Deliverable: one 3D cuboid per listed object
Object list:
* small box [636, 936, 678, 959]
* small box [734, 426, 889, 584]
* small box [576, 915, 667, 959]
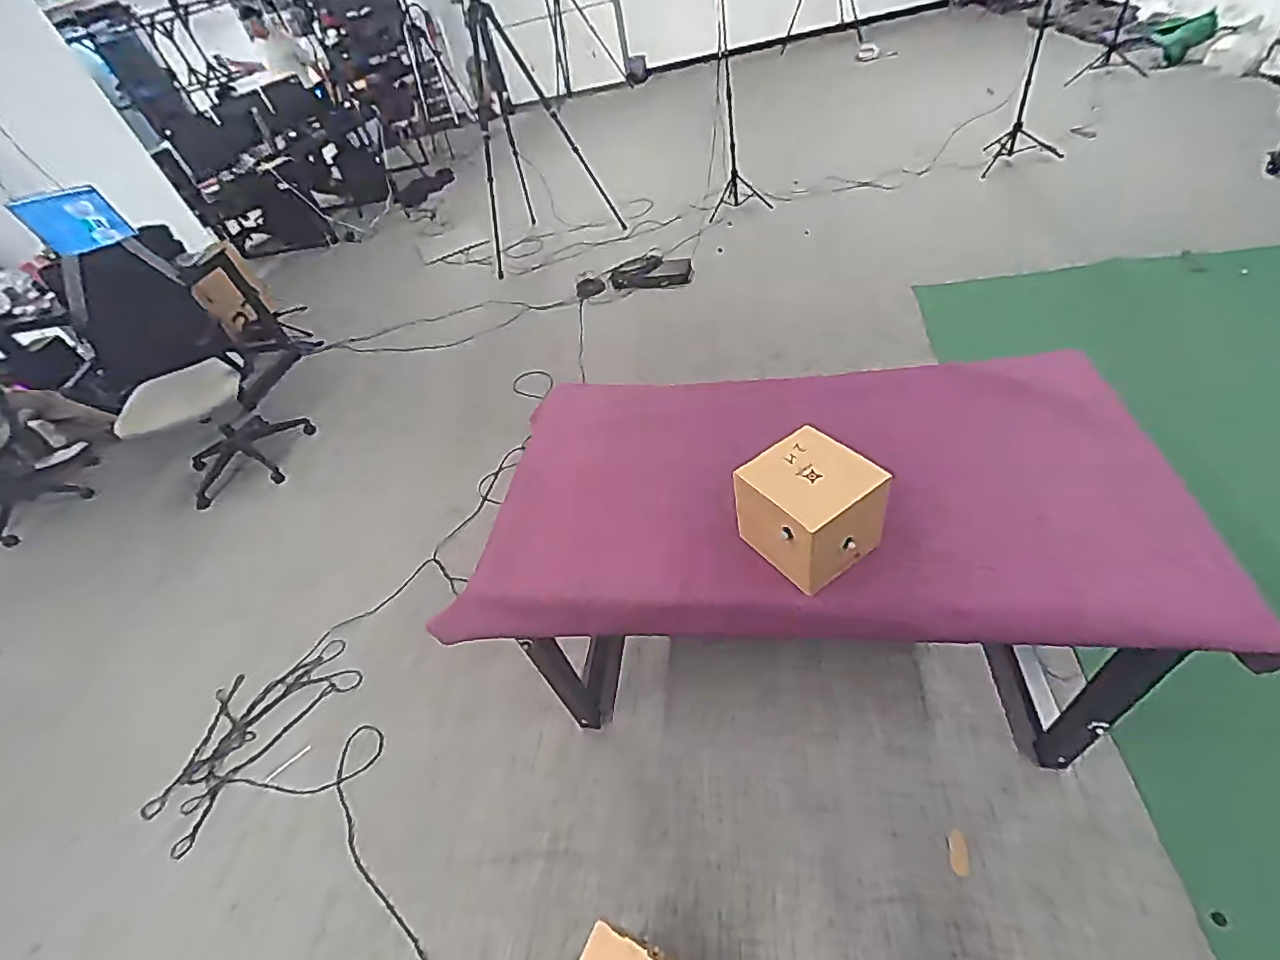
[{"bbox_3d":[0.008,1.023,1.053,0.168,0.176,0.179,9,50,24],"label":"small box"},{"bbox_3d":[0.278,0.048,0.896,0.168,0.176,0.179,-31,45,-16],"label":"small box"},{"bbox_3d":[-0.032,0.914,0.941,0.168,0.176,0.179,14,51,28],"label":"small box"}]
